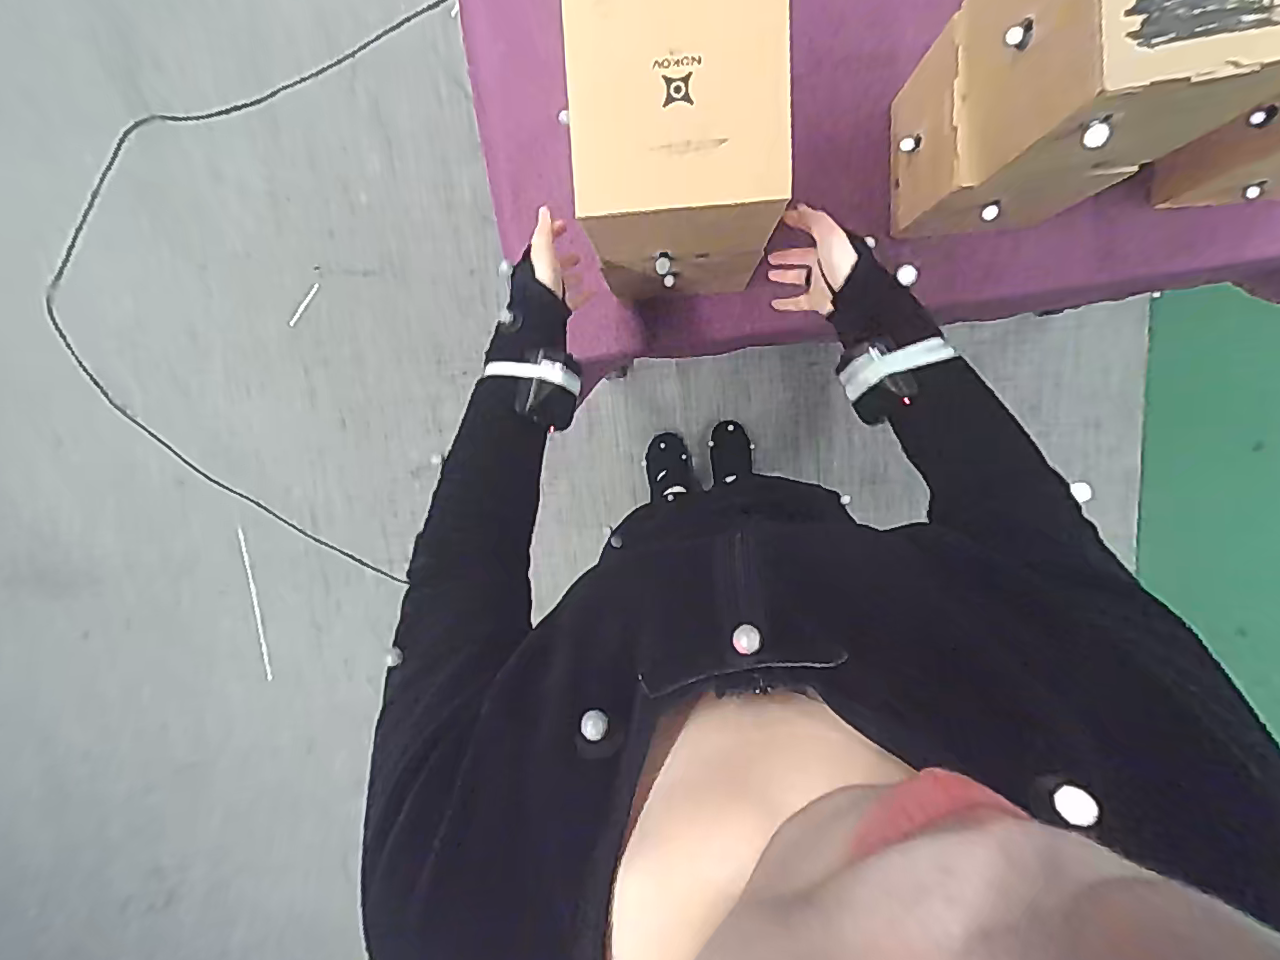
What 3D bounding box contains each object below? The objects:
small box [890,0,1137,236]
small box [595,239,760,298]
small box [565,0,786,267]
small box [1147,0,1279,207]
[{"bbox_3d":[0.398,-0.390,0.611,0.179,0.176,0.168,-3,97,5],"label":"small box"},{"bbox_3d":[0.041,-0.321,0.644,0.179,0.176,0.168,-4,97,4],"label":"small box"},{"bbox_3d":[0.031,-0.305,0.482,0.168,0.176,0.179,-2,98,5],"label":"small box"},{"bbox_3d":[0.707,-0.421,0.586,0.168,0.176,0.179,-2,98,5],"label":"small box"}]
